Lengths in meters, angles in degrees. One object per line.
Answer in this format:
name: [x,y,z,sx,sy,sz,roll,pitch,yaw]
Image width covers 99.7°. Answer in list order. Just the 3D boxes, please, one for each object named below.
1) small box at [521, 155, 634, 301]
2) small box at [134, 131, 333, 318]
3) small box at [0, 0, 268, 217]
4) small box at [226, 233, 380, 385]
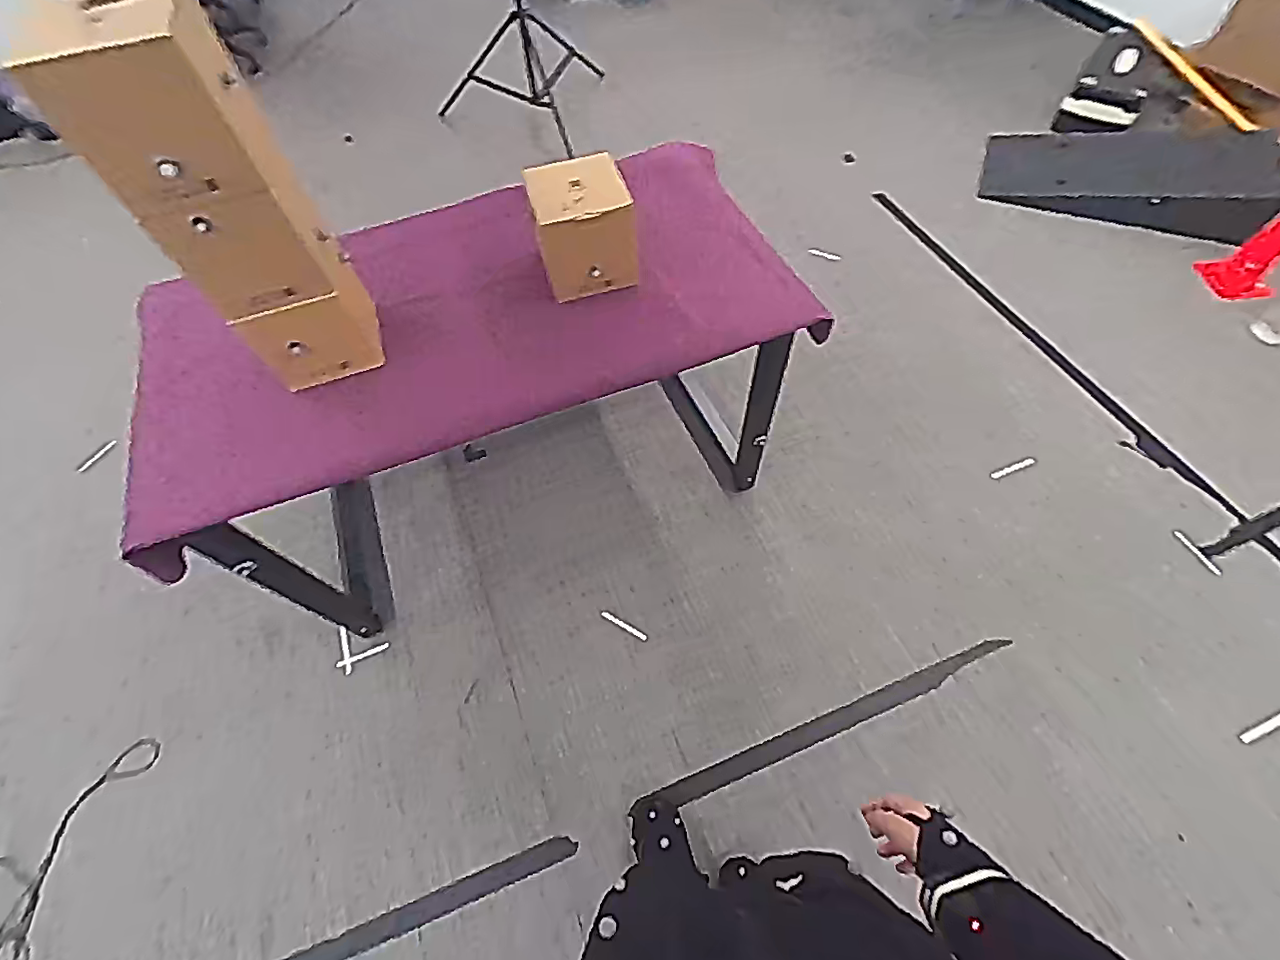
small box: [-0.114,-0.473,1.022,0.168,0.176,0.179,-16,60,-6]
small box: [-0.583,-0.374,0.798,0.168,0.176,0.179,-20,60,-9]
small box: [-0.585,-0.456,0.655,0.168,0.176,0.179,-20,61,-9]
small box: [-0.574,-0.286,0.936,0.168,0.176,0.179,-20,61,-9]
